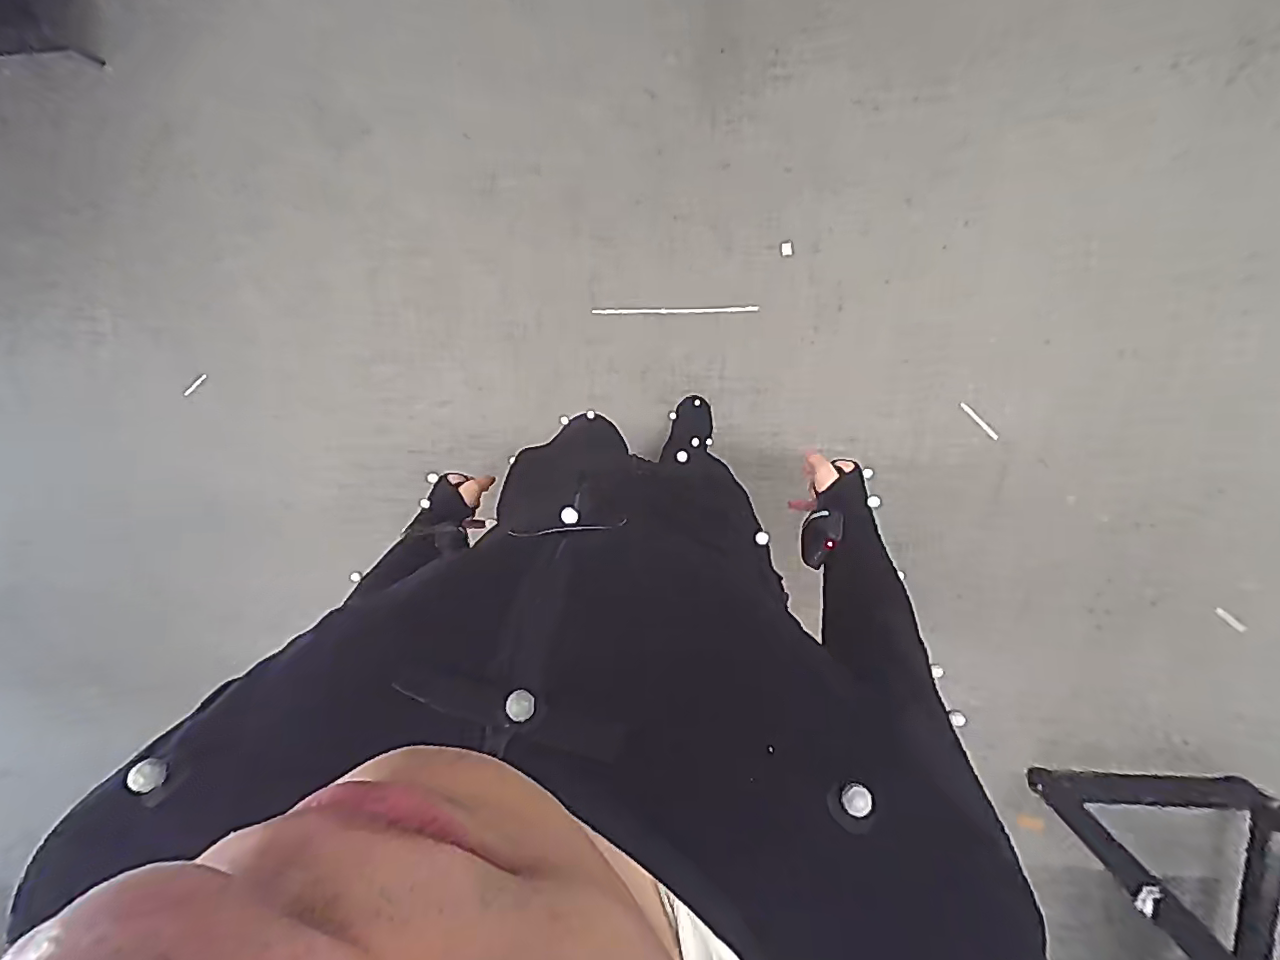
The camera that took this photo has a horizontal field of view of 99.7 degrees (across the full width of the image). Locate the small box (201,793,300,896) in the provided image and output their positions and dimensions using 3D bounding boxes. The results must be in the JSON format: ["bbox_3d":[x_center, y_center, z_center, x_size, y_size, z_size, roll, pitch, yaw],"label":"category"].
[{"bbox_3d":[-1.113,1.045,1.558,0.168,0.176,0.179,1,96,4],"label":"small box"}]
